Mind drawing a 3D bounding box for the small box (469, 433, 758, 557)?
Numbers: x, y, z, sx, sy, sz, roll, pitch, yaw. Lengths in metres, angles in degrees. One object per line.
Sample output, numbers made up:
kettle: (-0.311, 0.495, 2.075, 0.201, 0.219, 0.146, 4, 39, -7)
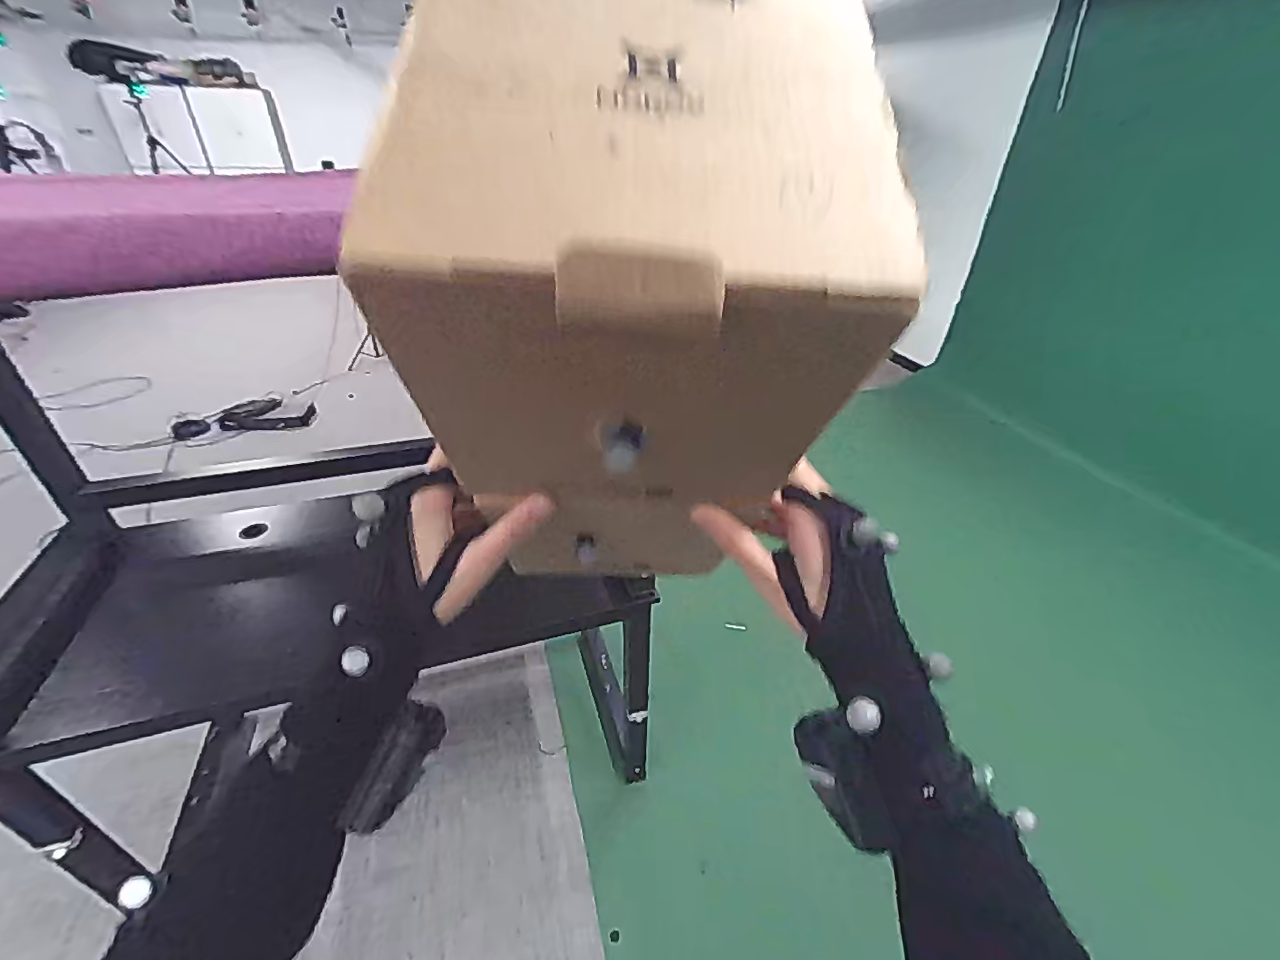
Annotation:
small box: (-0.016, -0.046, 0.406, 0.168, 0.176, 0.179, 2, 65, -3)
